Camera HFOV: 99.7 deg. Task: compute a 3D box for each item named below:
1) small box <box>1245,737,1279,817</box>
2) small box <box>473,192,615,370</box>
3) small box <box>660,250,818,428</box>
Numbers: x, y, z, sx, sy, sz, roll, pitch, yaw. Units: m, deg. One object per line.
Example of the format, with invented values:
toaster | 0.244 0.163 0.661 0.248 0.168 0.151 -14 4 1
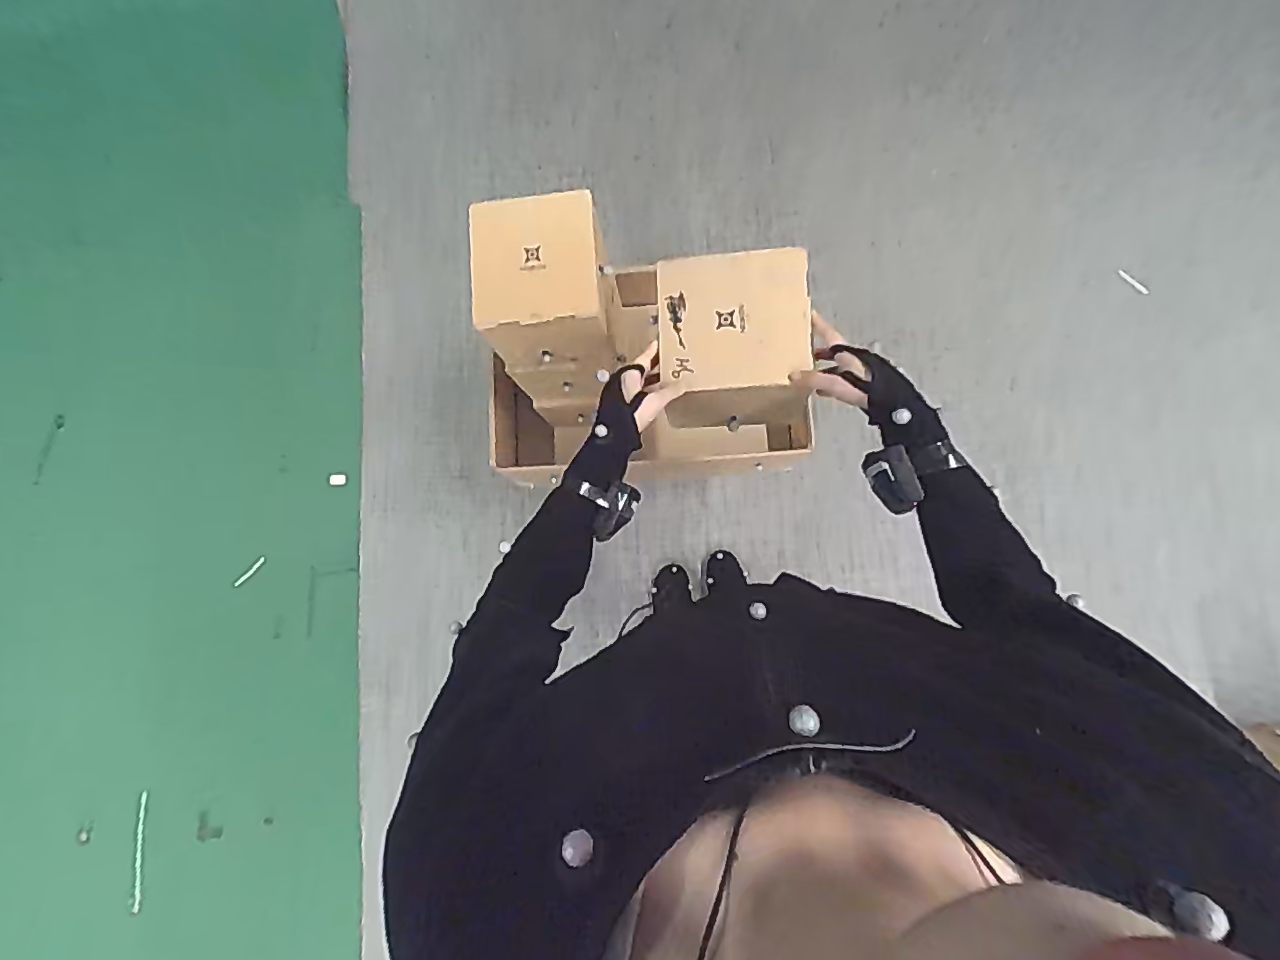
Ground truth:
small box | 1.566 0.700 1.240 0.168 0.176 0.179 -6 81 4
small box | -0.130 -0.274 0.776 0.168 0.176 0.179 -5 82 4
small box | 0.118 -0.169 0.694 0.179 0.176 0.168 -2 79 7
